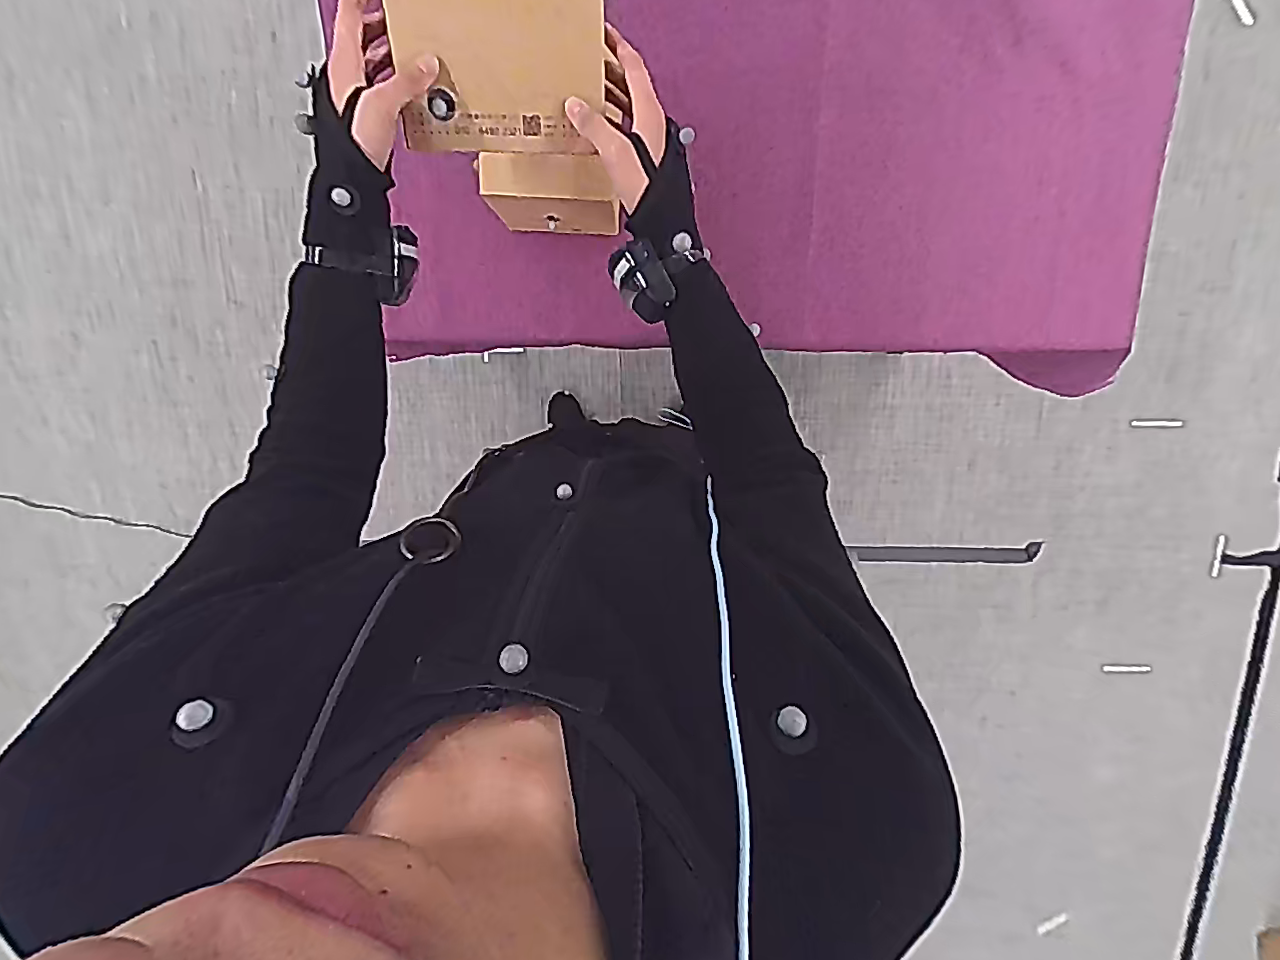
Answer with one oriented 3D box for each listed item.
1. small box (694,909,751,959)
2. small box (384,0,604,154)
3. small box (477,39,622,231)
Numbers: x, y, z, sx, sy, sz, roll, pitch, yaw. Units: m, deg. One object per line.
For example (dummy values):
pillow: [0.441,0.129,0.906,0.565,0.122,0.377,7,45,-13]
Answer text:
small box: [0.283,1.647,1.891,0.179,0.176,0.168,-2,101,-2]
small box: [-0.118,-0.392,0.480,0.168,0.179,0.176,-2,124,-7]
small box: [-0.111,-0.445,0.719,0.168,0.176,0.179,3,101,-2]
